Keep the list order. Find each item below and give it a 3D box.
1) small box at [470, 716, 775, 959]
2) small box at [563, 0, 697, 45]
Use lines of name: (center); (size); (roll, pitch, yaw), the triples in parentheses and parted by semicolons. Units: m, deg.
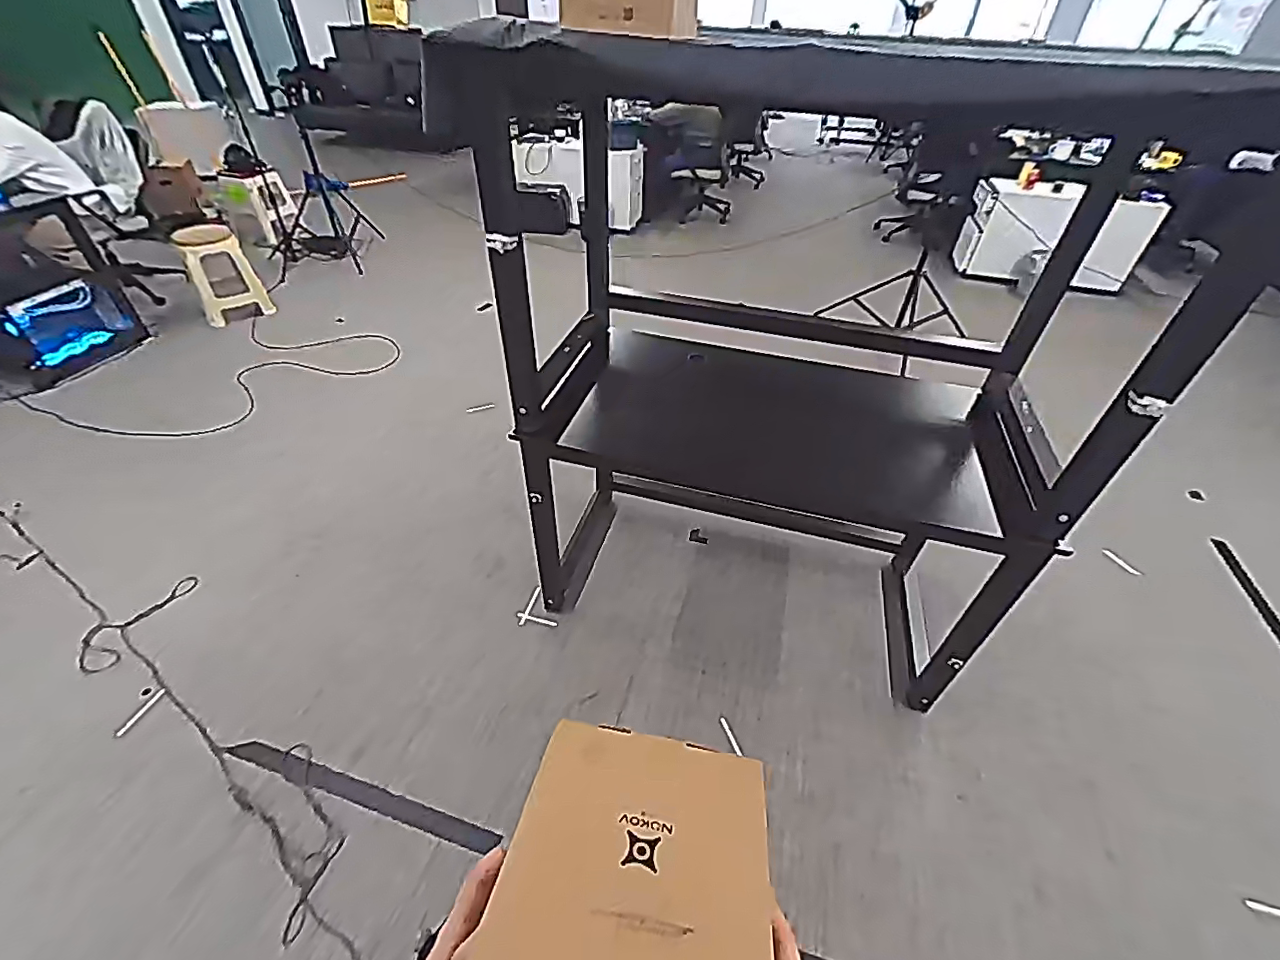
small box: (-0.007, 0.309, 0.380); (0.168, 0.176, 0.179); (9, 24, 6)
small box: (-0.008, -0.734, 0.773); (0.168, 0.176, 0.179); (13, 40, 10)
